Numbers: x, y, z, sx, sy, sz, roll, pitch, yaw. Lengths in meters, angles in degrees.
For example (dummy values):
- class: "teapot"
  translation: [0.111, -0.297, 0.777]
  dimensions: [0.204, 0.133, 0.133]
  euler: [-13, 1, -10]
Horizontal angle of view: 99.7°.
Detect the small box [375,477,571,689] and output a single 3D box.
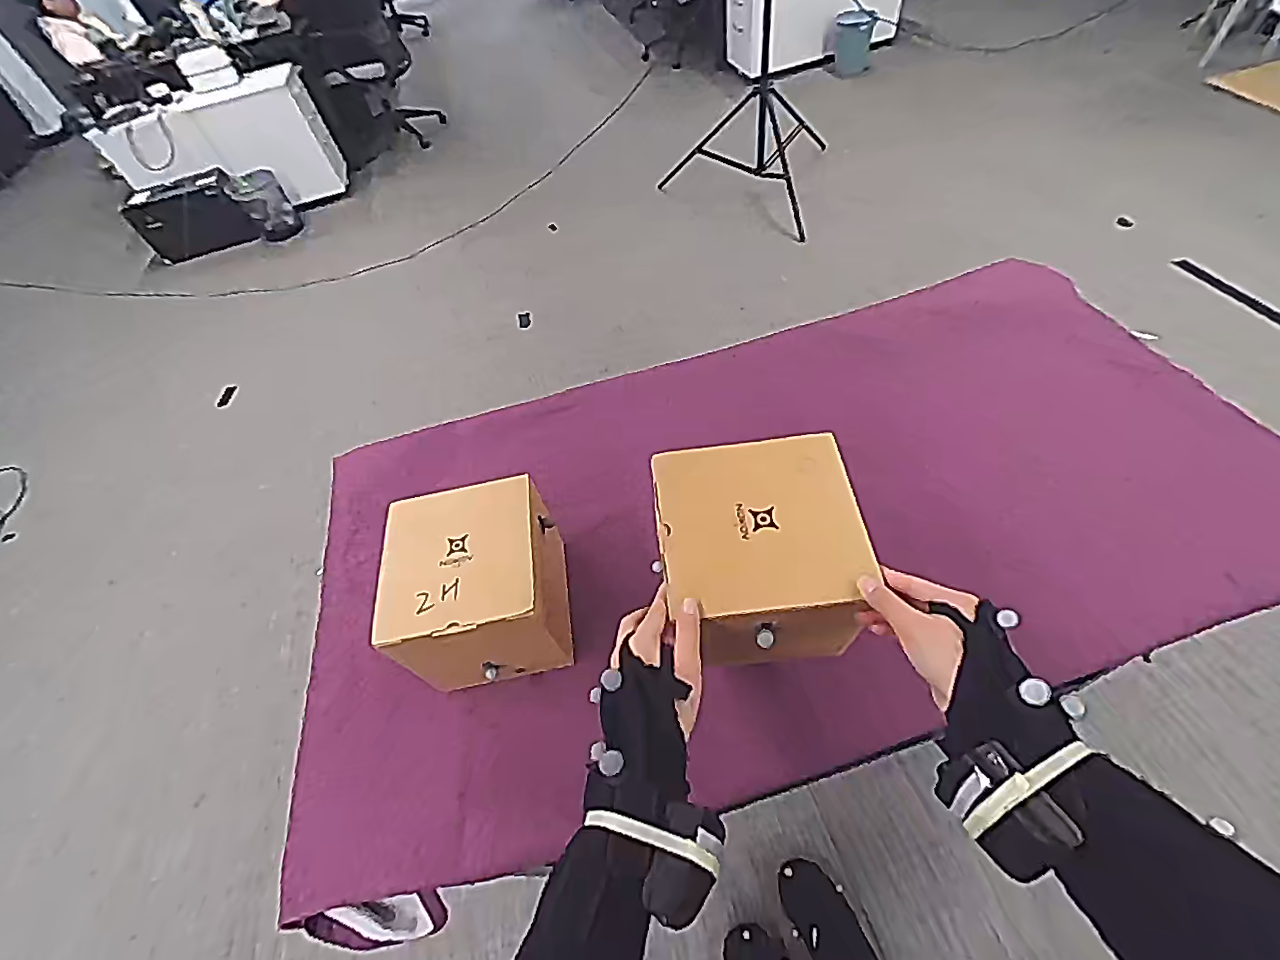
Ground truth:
- class: "small box"
  translation: [-0.184, 0.126, 0.644]
  dimensions: [0.168, 0.176, 0.179]
  euler: [-12, 53, 1]
